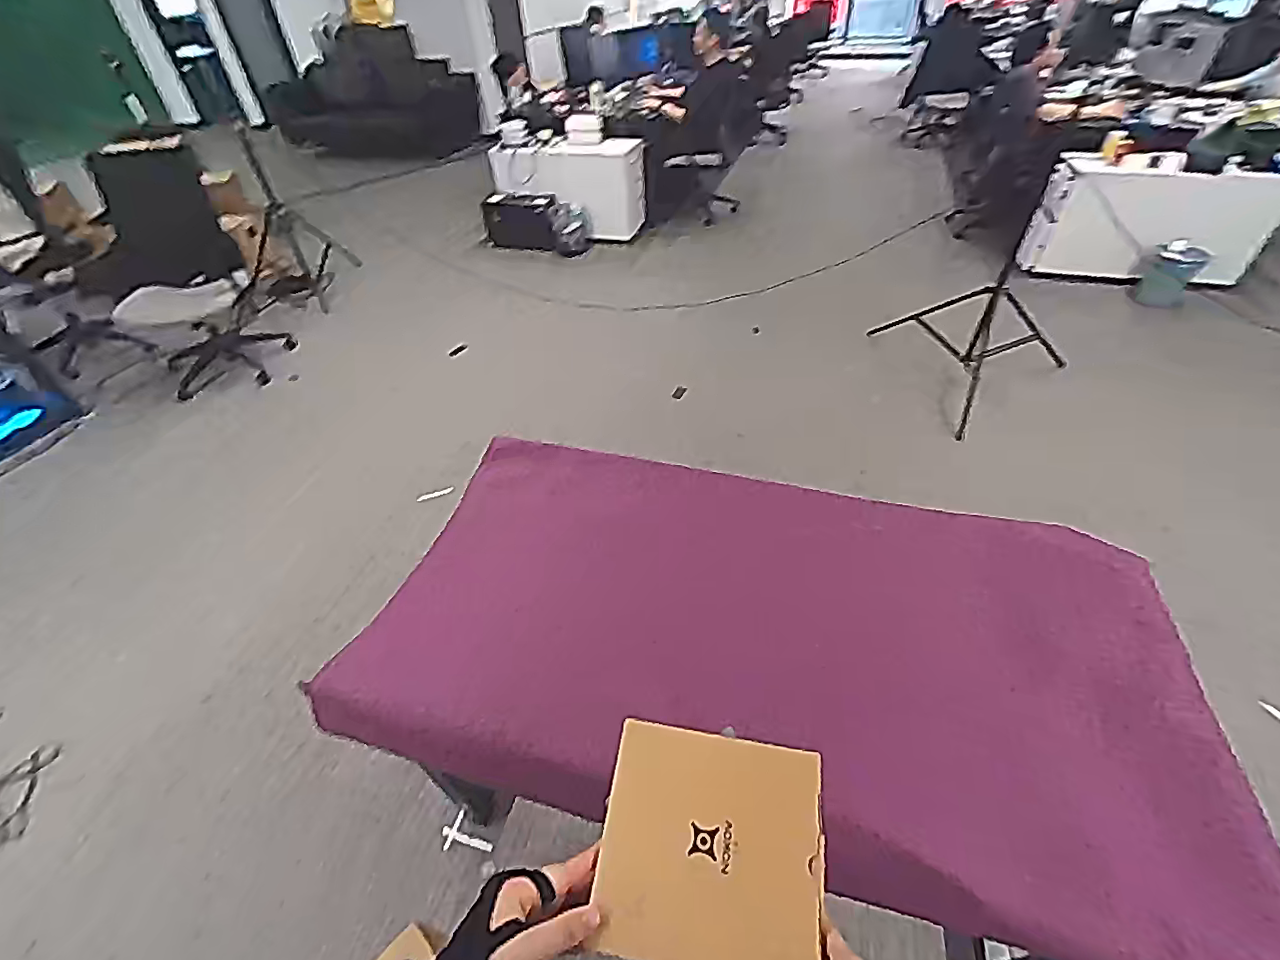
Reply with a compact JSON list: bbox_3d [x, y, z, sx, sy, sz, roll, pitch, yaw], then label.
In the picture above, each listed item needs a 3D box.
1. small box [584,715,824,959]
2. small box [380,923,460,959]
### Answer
[{"bbox_3d":[0.064,0.338,0.495,0.179,0.176,0.168,5,51,10],"label":"small box"},{"bbox_3d":[-0.383,0.903,0.909,0.179,0.176,0.168,-36,53,-28],"label":"small box"}]
